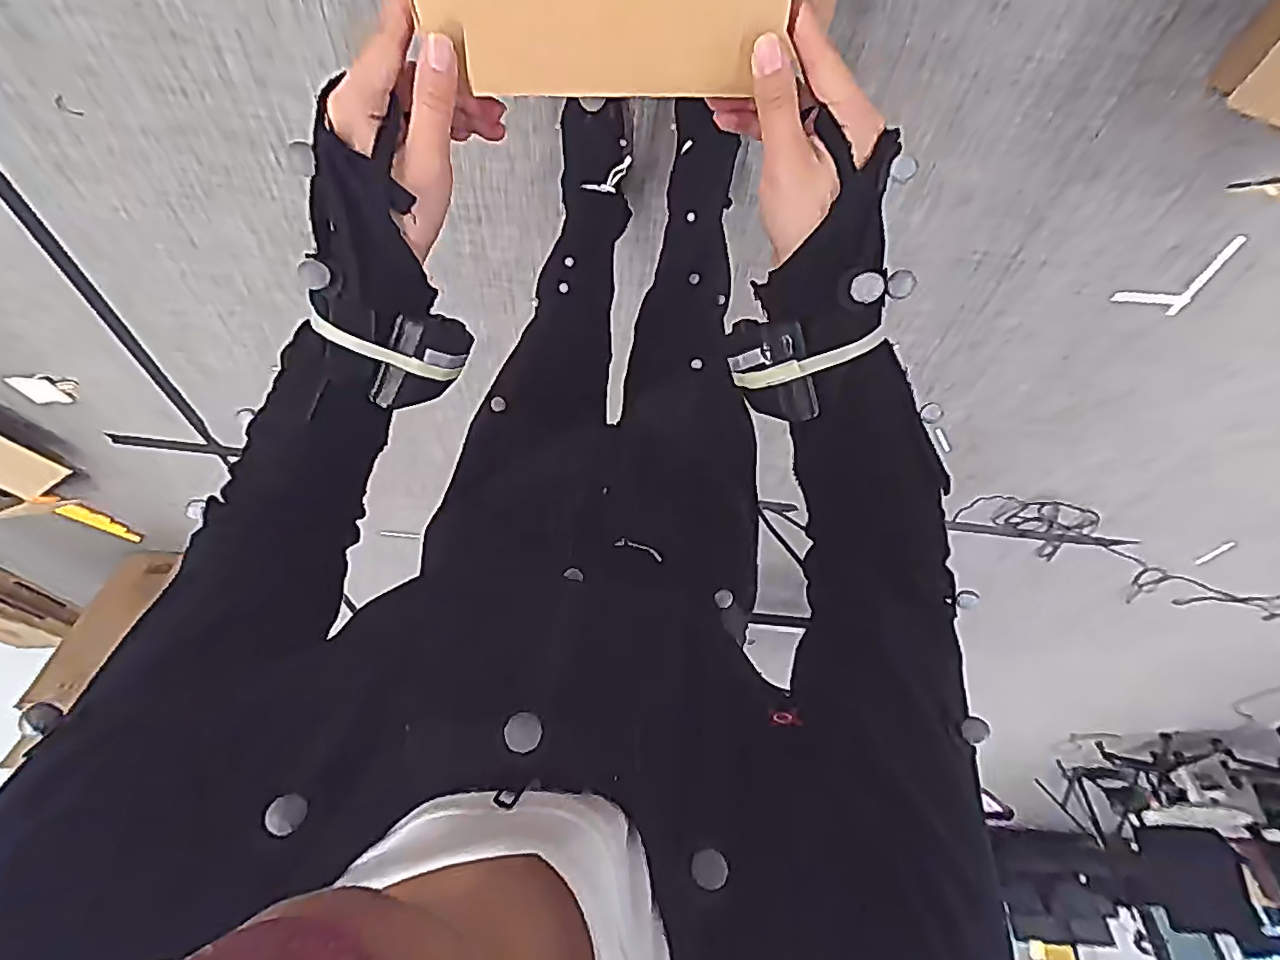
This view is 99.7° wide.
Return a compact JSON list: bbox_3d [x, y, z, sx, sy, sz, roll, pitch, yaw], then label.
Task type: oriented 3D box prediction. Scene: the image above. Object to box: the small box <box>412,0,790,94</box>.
[{"bbox_3d":[-0.018,-0.310,0.259,0.179,0.176,0.168,1,142,0],"label":"small box"}]
